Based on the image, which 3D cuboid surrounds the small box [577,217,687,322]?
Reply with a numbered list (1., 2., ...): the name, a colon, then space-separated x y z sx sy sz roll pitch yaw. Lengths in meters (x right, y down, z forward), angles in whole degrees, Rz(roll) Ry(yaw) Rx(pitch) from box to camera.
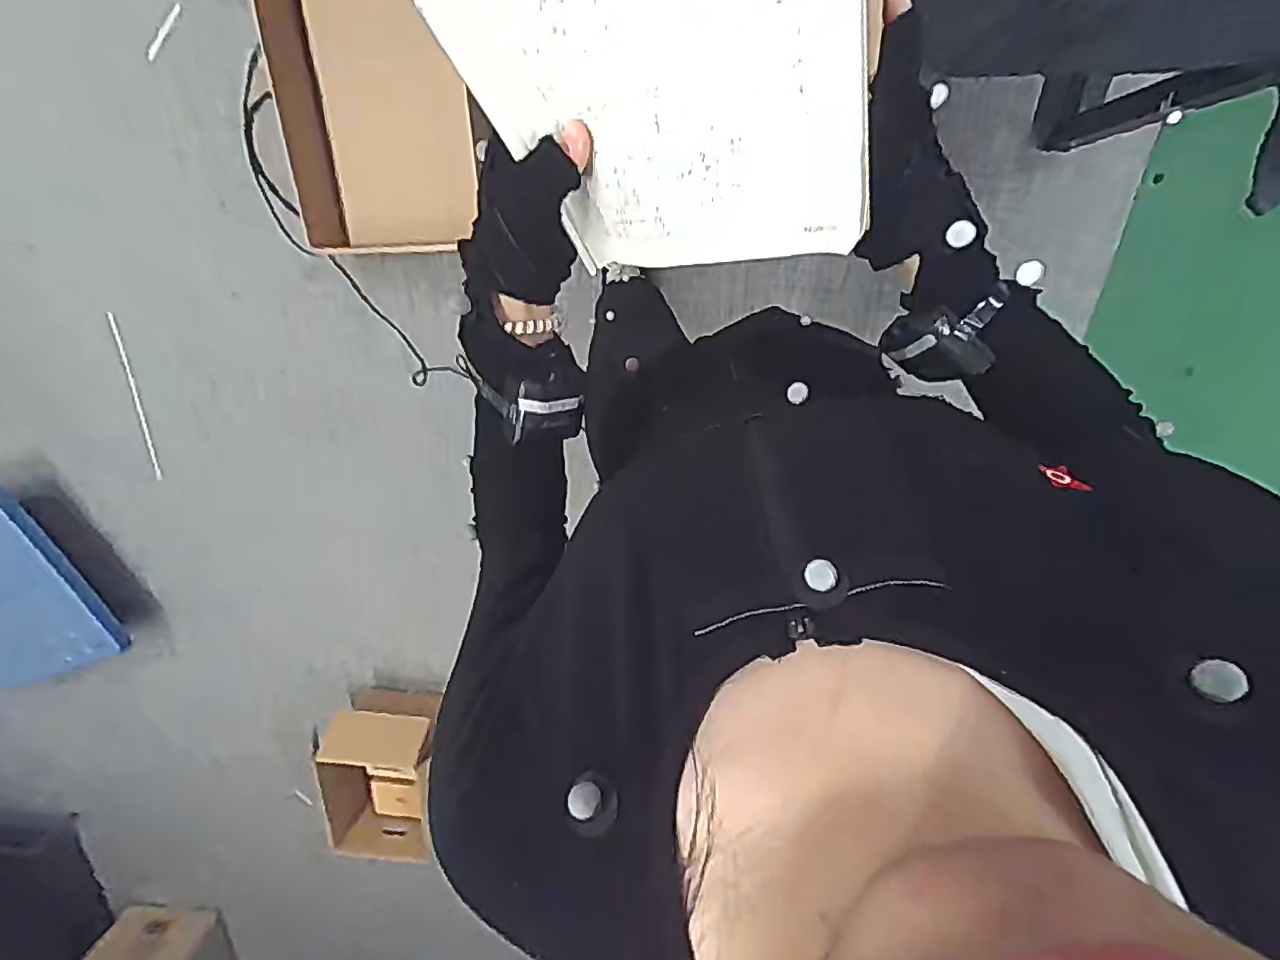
1. small box: -0.025 -0.492 1.270 0.179 0.176 0.168 42 122 9
